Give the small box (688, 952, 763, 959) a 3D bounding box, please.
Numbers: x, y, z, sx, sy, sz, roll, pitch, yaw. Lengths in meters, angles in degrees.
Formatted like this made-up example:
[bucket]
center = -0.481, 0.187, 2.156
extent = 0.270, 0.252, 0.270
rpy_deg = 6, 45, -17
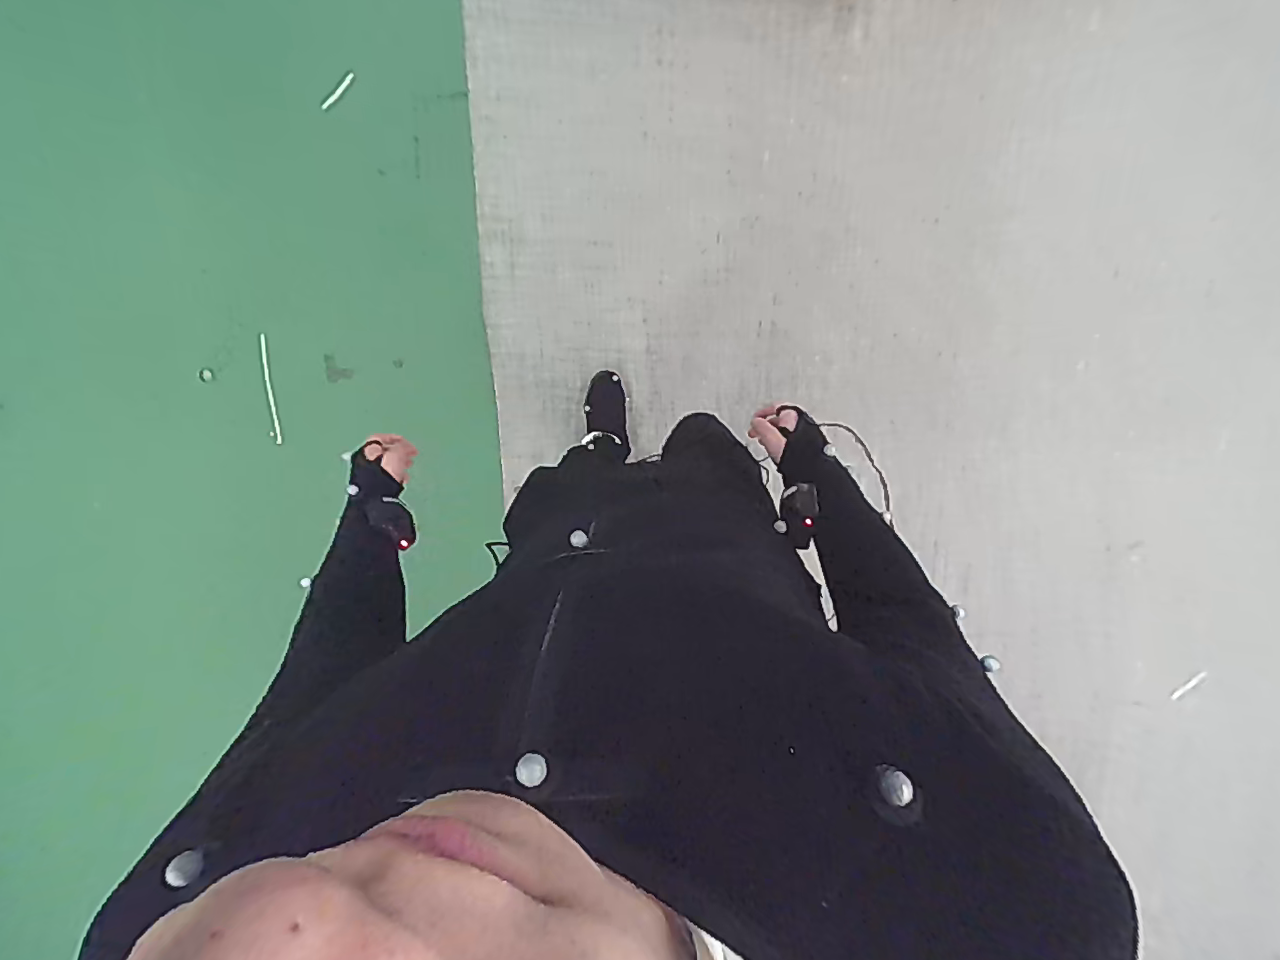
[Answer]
[small box]
center = 0.176, 1.067, 1.043
extent = 0.168, 0.176, 0.179
rpy_deg = 0, 103, 1
